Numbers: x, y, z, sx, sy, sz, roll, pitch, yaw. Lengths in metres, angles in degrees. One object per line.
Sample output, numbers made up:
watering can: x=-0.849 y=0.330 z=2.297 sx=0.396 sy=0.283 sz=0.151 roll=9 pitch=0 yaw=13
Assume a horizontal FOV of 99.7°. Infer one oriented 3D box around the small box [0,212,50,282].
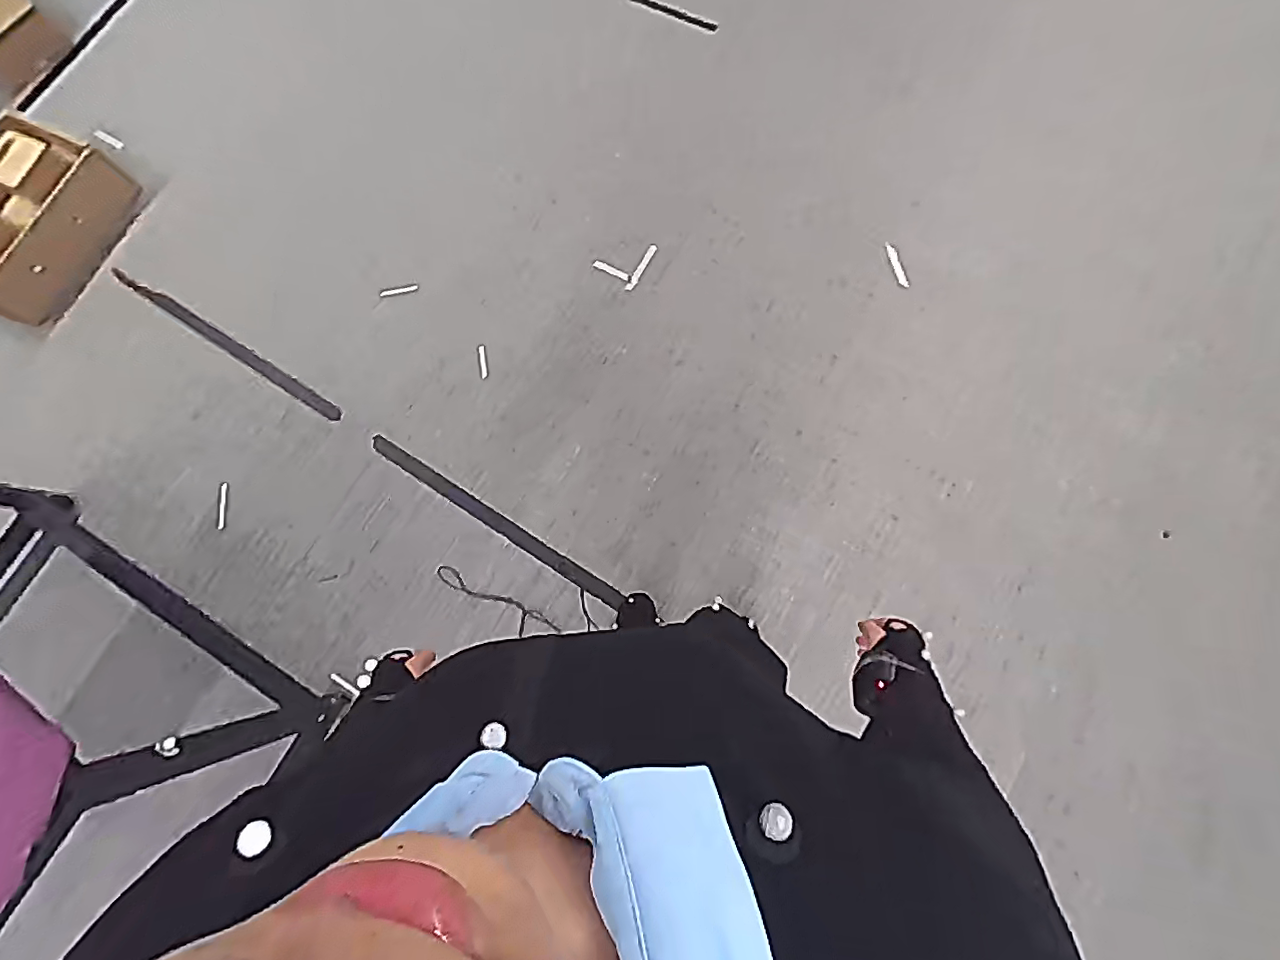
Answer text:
small box: x=-2.130 y=-0.789 z=1.774 sx=0.179 sy=0.176 sz=0.168 roll=36 pitch=81 yaw=11
